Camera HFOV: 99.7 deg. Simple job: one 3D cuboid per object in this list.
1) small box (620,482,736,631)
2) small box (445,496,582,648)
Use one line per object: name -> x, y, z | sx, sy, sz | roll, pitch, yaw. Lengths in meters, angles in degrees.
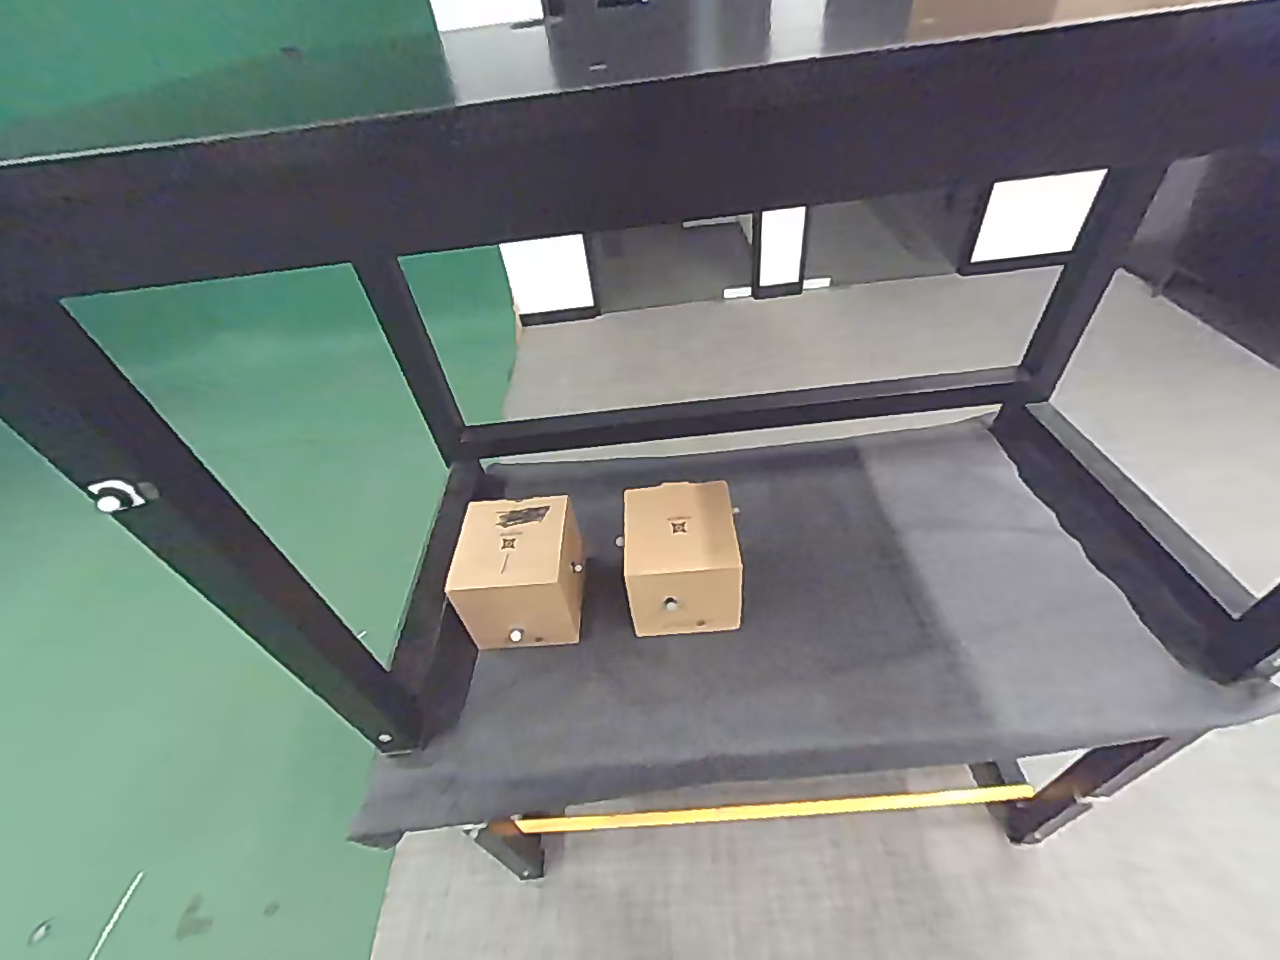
small box -> 0.061, 0.128, 0.865 | 0.168, 0.176, 0.179 | -5, 43, 3
small box -> -0.190, 0.149, 0.875 | 0.168, 0.176, 0.179 | -5, 44, 3
